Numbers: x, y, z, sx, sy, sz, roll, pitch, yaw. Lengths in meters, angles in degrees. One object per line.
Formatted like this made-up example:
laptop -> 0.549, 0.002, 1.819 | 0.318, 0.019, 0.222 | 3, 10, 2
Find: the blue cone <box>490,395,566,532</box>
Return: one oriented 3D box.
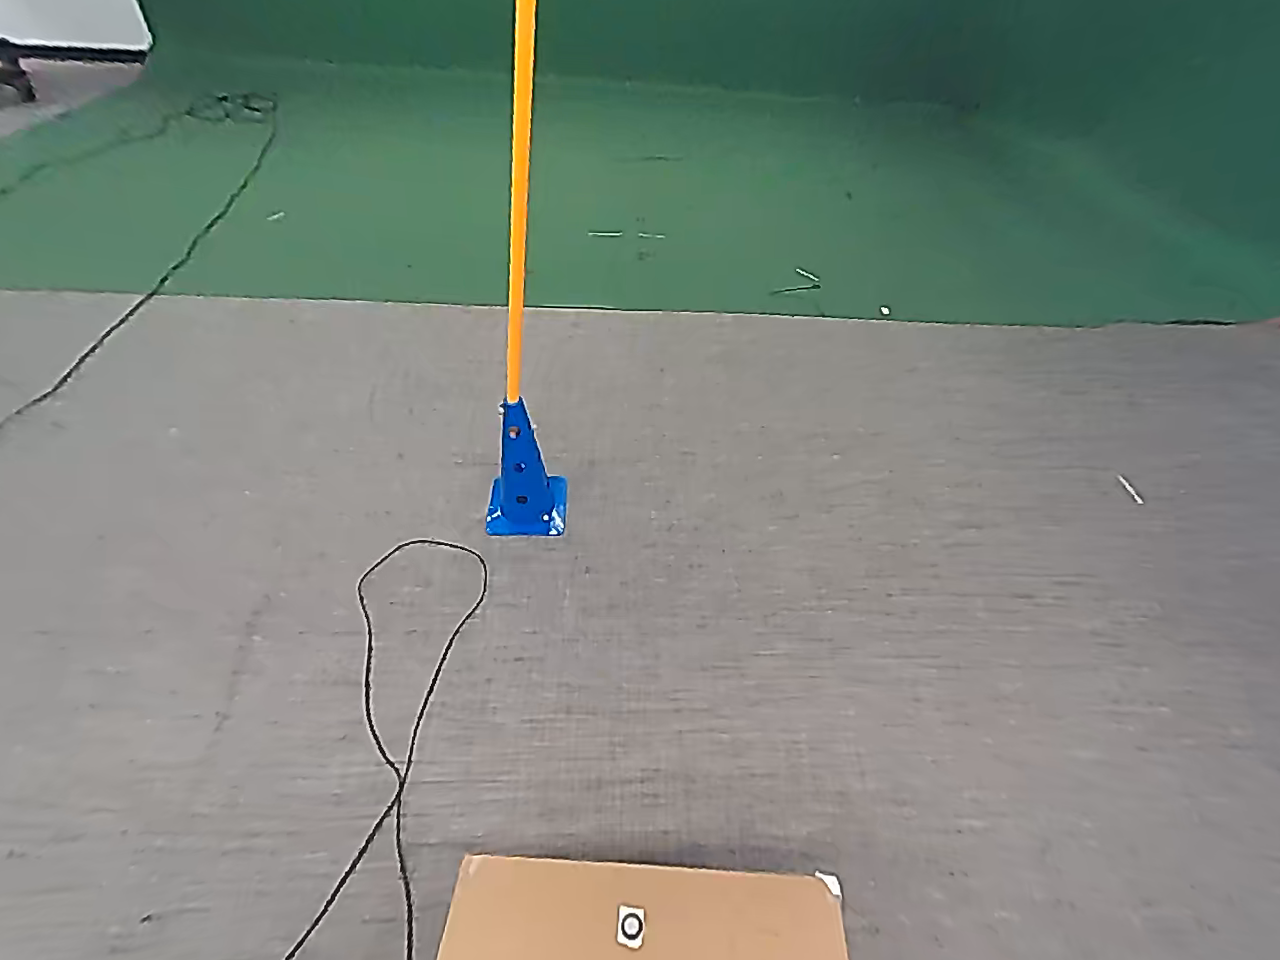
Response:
blue cone -> -0.275, -0.052, 1.281 | 0.193, 0.380, 0.192 | 0, 48, -7
